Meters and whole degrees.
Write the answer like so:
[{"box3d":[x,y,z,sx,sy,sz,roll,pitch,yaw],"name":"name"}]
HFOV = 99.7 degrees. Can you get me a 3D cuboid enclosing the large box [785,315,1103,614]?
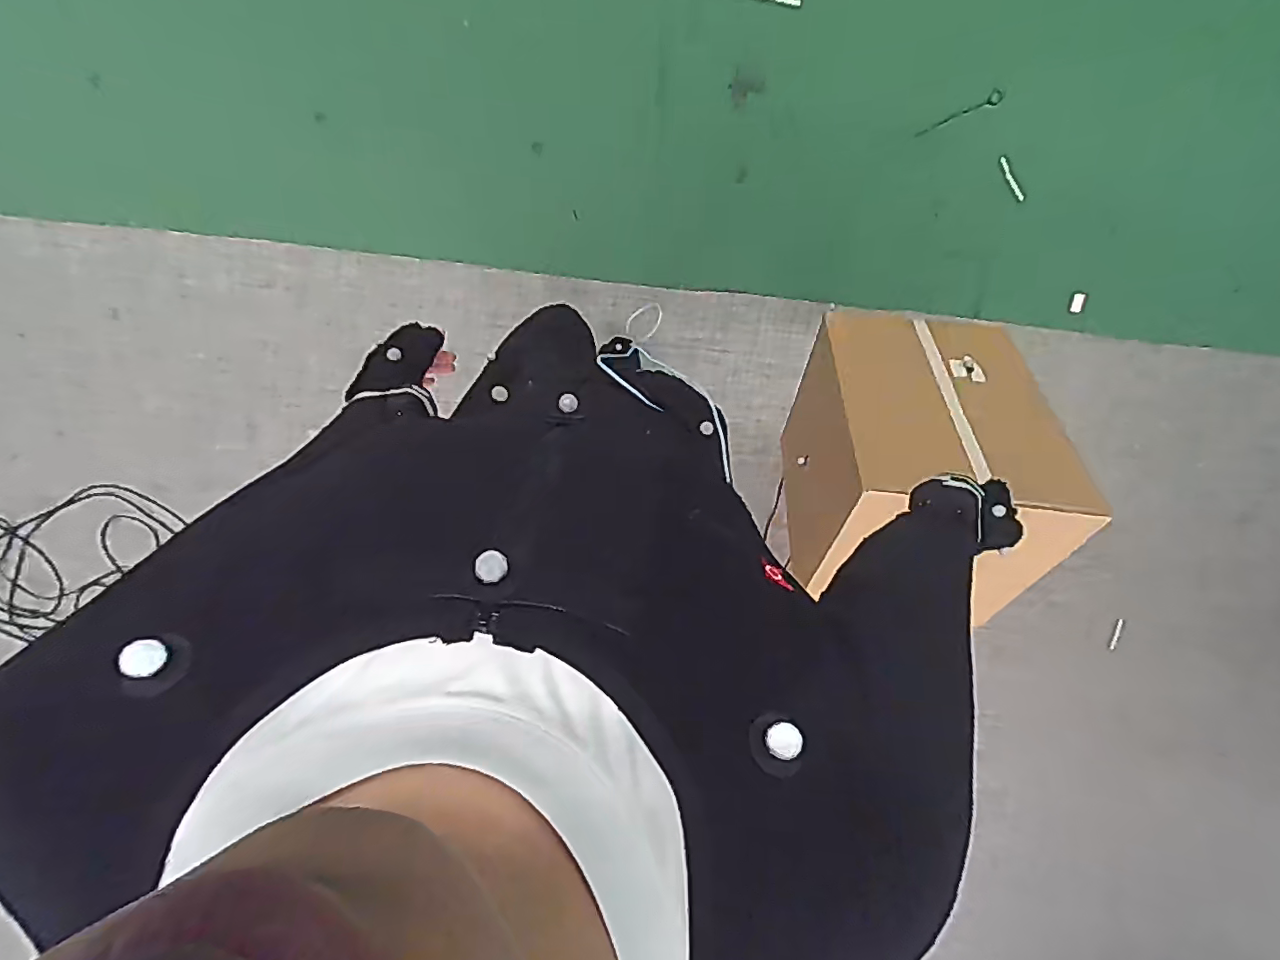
[{"box3d":[0.449,-0.027,0.926,0.320,0.408,0.320,7,140,1],"name":"large box"}]
